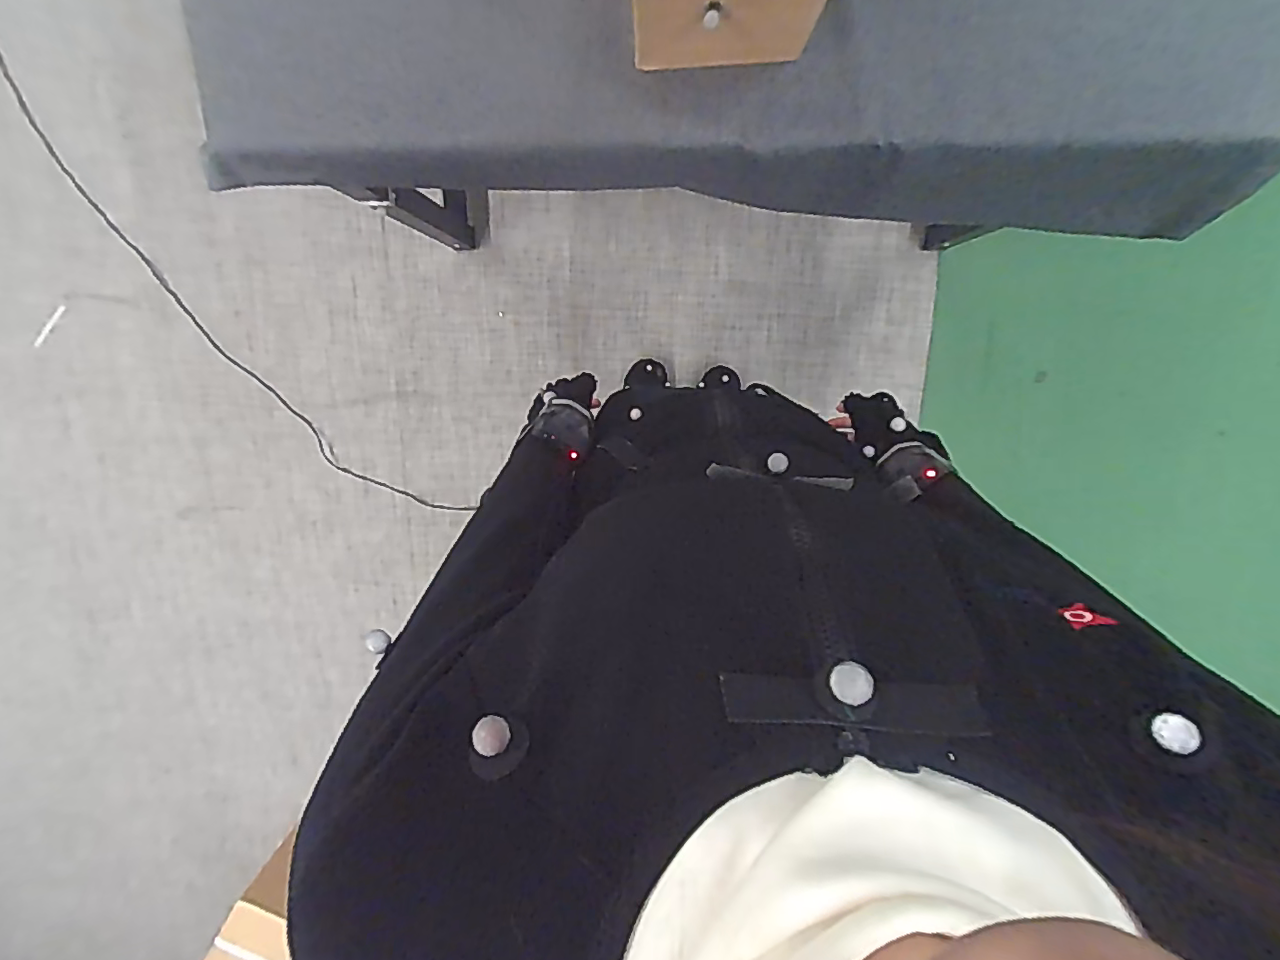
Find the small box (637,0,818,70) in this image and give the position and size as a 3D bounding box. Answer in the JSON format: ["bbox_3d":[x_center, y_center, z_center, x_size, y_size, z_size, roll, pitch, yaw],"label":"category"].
[{"bbox_3d":[0.078,-0.514,0.493,0.179,0.176,0.168,-6,101,3],"label":"small box"}]
